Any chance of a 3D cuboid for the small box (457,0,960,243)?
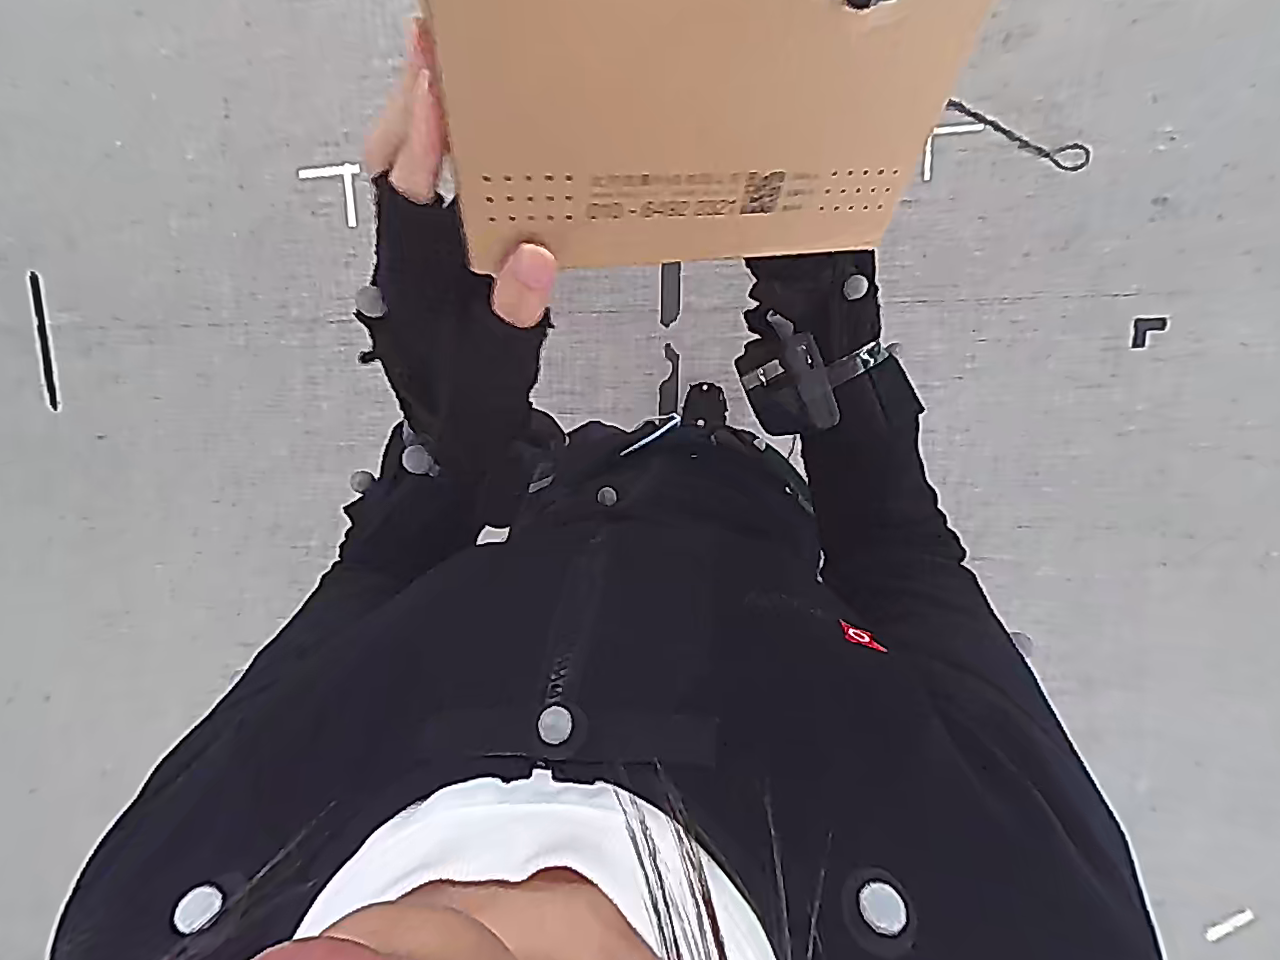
[{"bbox_3d":[0.012,-0.209,0.207,0.168,0.176,0.179,-9,55,-13],"label":"small box"}]
